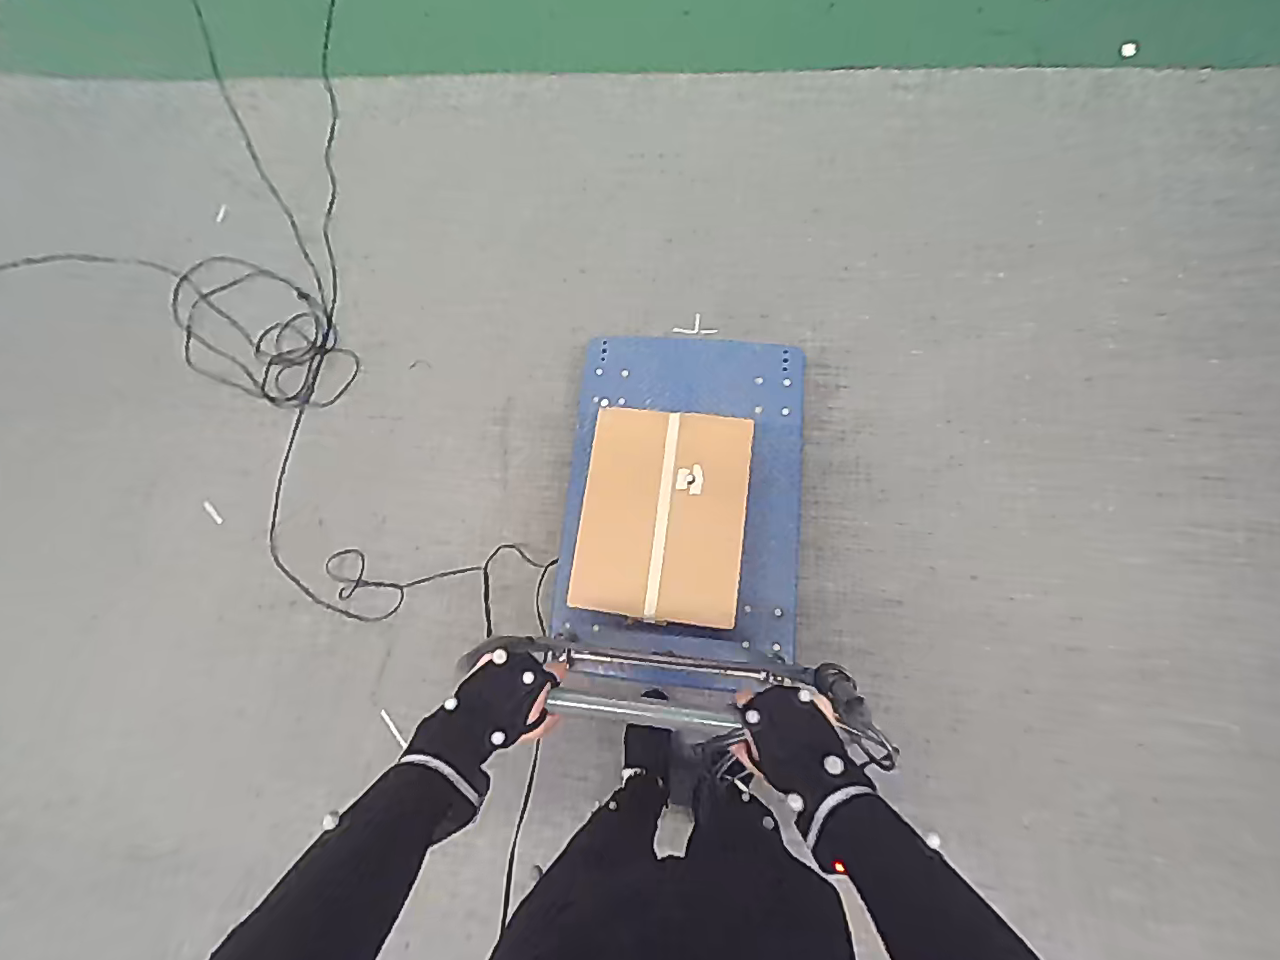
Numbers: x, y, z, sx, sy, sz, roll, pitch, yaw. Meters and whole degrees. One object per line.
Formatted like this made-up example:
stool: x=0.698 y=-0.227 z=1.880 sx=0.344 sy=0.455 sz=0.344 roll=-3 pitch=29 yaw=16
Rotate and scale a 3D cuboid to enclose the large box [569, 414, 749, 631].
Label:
large box: x=0.056 y=0.108 z=1.181 sx=0.320 sy=0.320 sz=0.408 roll=7 pitch=76 yaw=7
